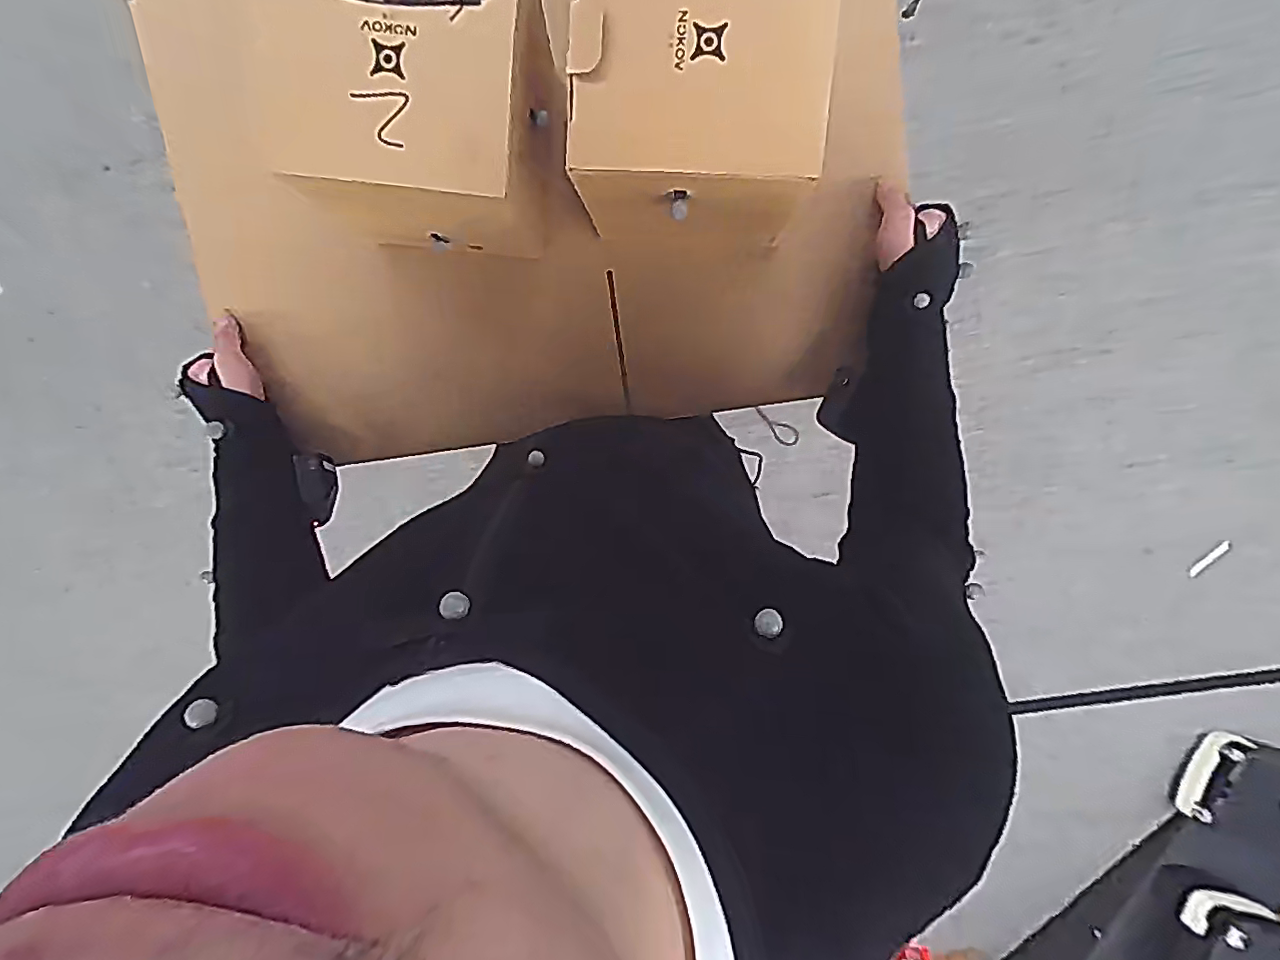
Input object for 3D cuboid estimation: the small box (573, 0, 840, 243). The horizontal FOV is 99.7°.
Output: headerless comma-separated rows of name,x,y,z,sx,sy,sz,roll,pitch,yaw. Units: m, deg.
small box,0.051,-0.305,0.448,0.179,0.176,0.168,5,99,5
